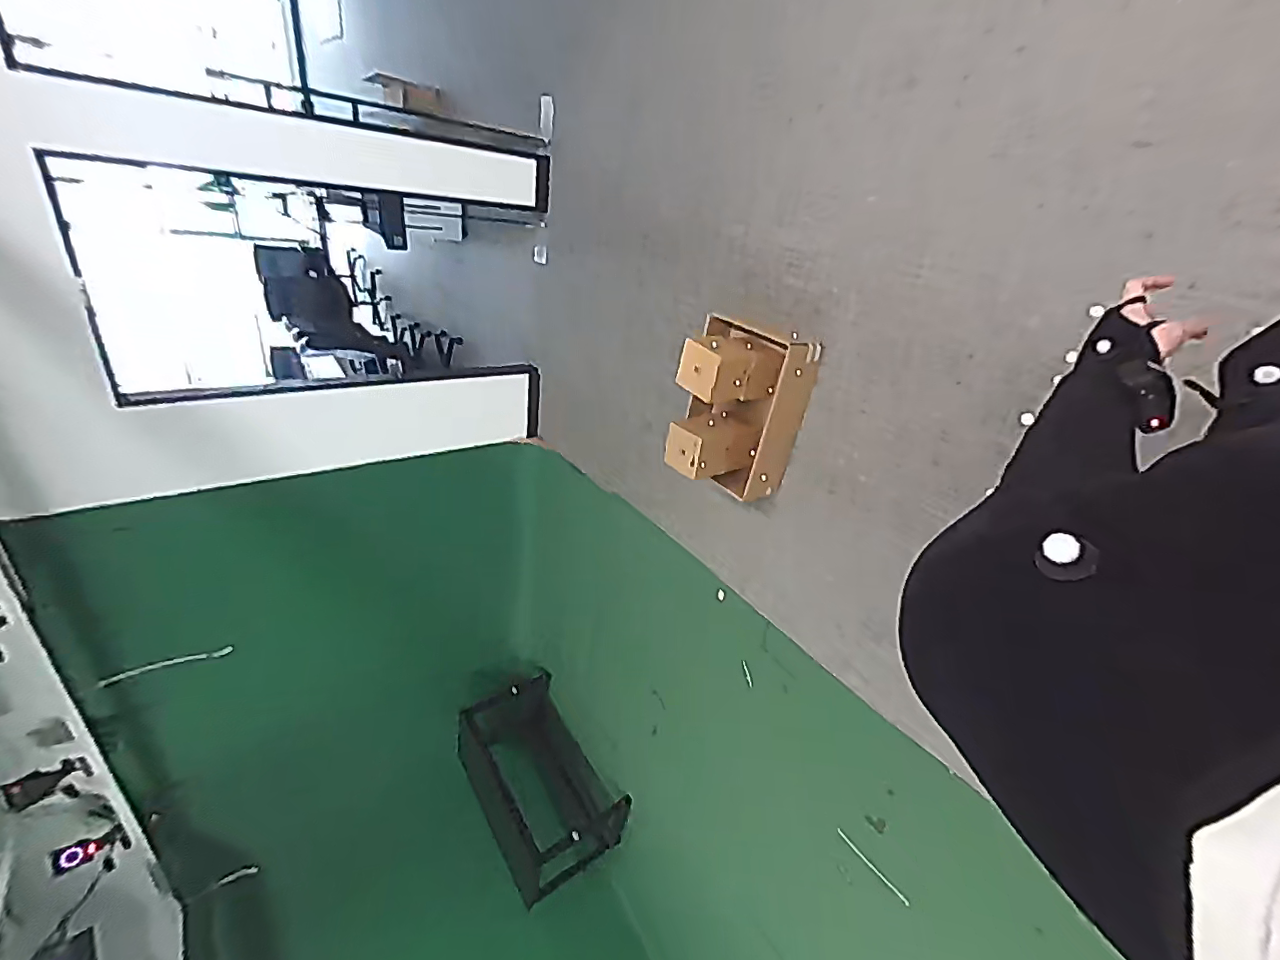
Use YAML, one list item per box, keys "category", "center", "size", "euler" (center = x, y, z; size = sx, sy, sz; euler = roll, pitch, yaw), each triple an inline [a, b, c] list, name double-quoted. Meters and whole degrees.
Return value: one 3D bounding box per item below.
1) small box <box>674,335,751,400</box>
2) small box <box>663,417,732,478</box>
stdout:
- category: "small box"
  center: [0.251, -0.392, 1.870]
  size: [0.179, 0.176, 0.168]
  euler: [41, 131, 37]
- category: "small box"
  center: [0.212, -0.128, 2.008]
  size: [0.179, 0.176, 0.168]
  euler: [36, 129, 42]
